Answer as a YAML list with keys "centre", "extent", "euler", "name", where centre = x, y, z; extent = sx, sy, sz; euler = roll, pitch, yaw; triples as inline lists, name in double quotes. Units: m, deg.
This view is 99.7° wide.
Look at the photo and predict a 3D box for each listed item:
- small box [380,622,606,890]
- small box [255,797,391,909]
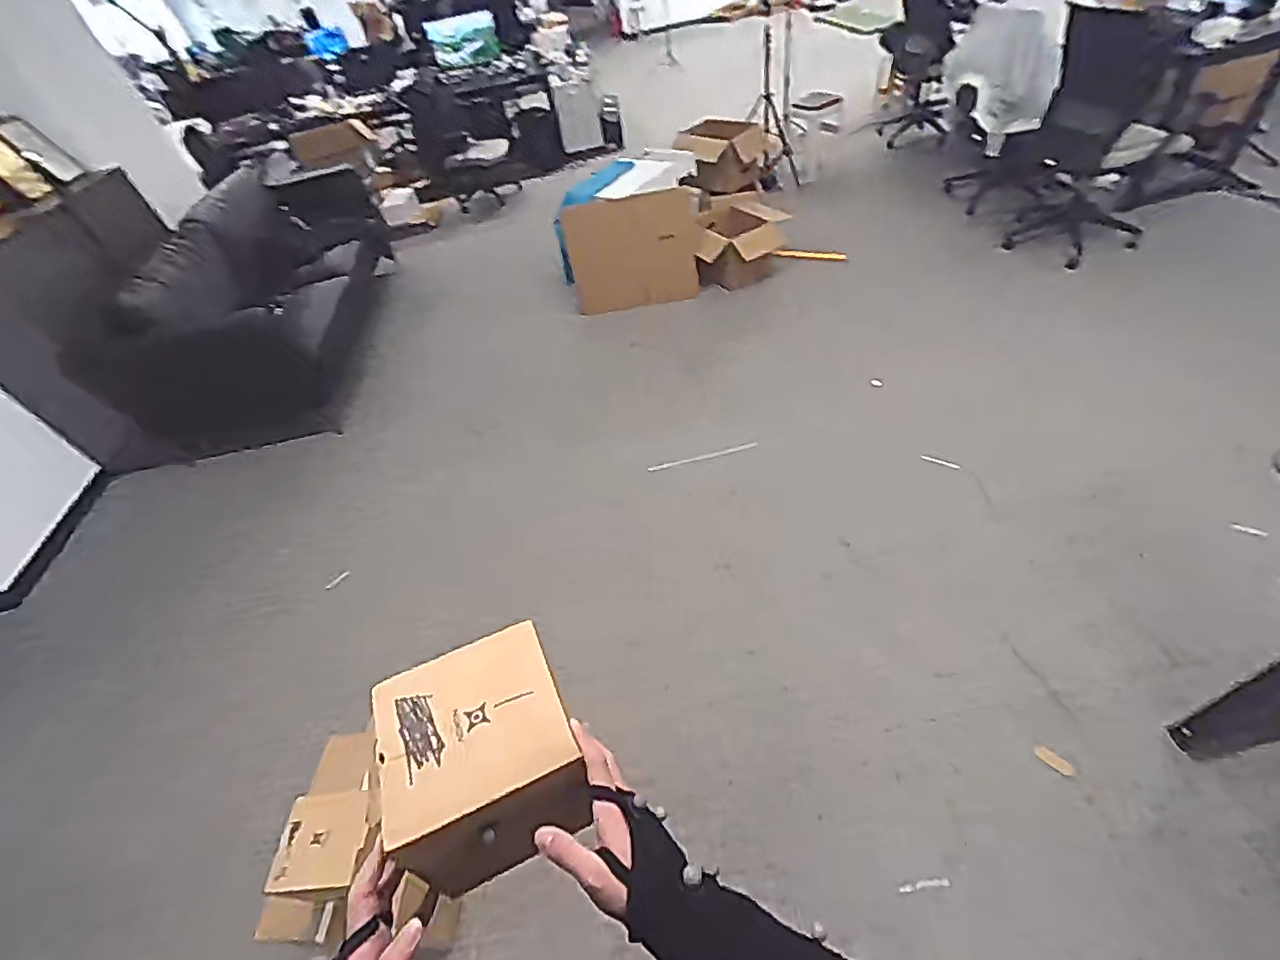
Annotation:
- centre: [-0.151, 0.290, 0.573]
  extent: [0.179, 0.176, 0.168]
  euler: [-19, 43, -14]
  name: "small box"
- centre: [-0.633, 0.775, 1.122]
  extent: [0.179, 0.176, 0.168]
  euler: [-7, 46, 3]
  name: "small box"
